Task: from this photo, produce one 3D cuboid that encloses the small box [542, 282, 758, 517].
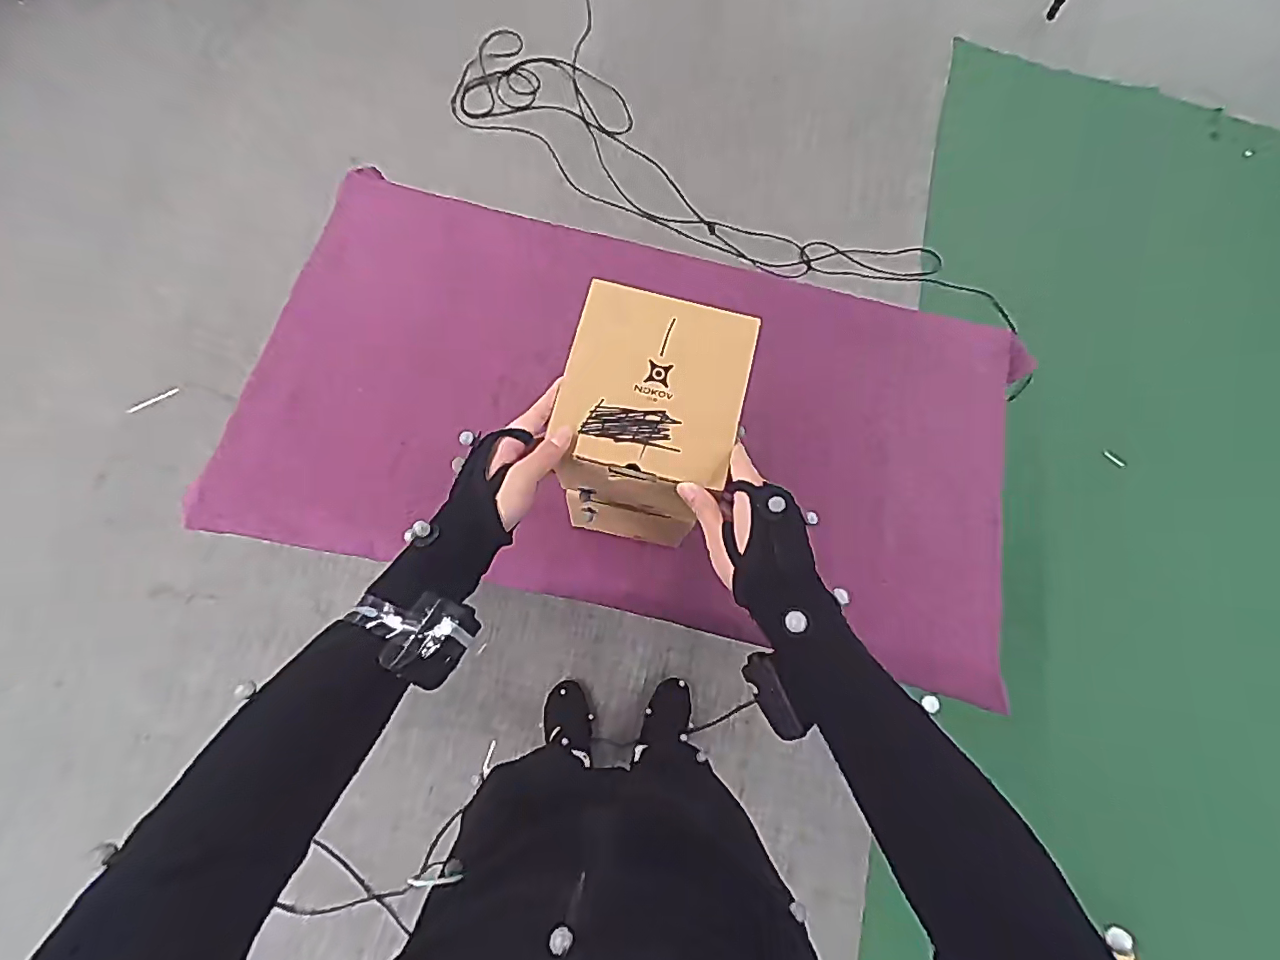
[{"bbox_3d":[0.010,-0.069,0.569,0.168,0.176,0.179,14,77,1],"label":"small box"}]
